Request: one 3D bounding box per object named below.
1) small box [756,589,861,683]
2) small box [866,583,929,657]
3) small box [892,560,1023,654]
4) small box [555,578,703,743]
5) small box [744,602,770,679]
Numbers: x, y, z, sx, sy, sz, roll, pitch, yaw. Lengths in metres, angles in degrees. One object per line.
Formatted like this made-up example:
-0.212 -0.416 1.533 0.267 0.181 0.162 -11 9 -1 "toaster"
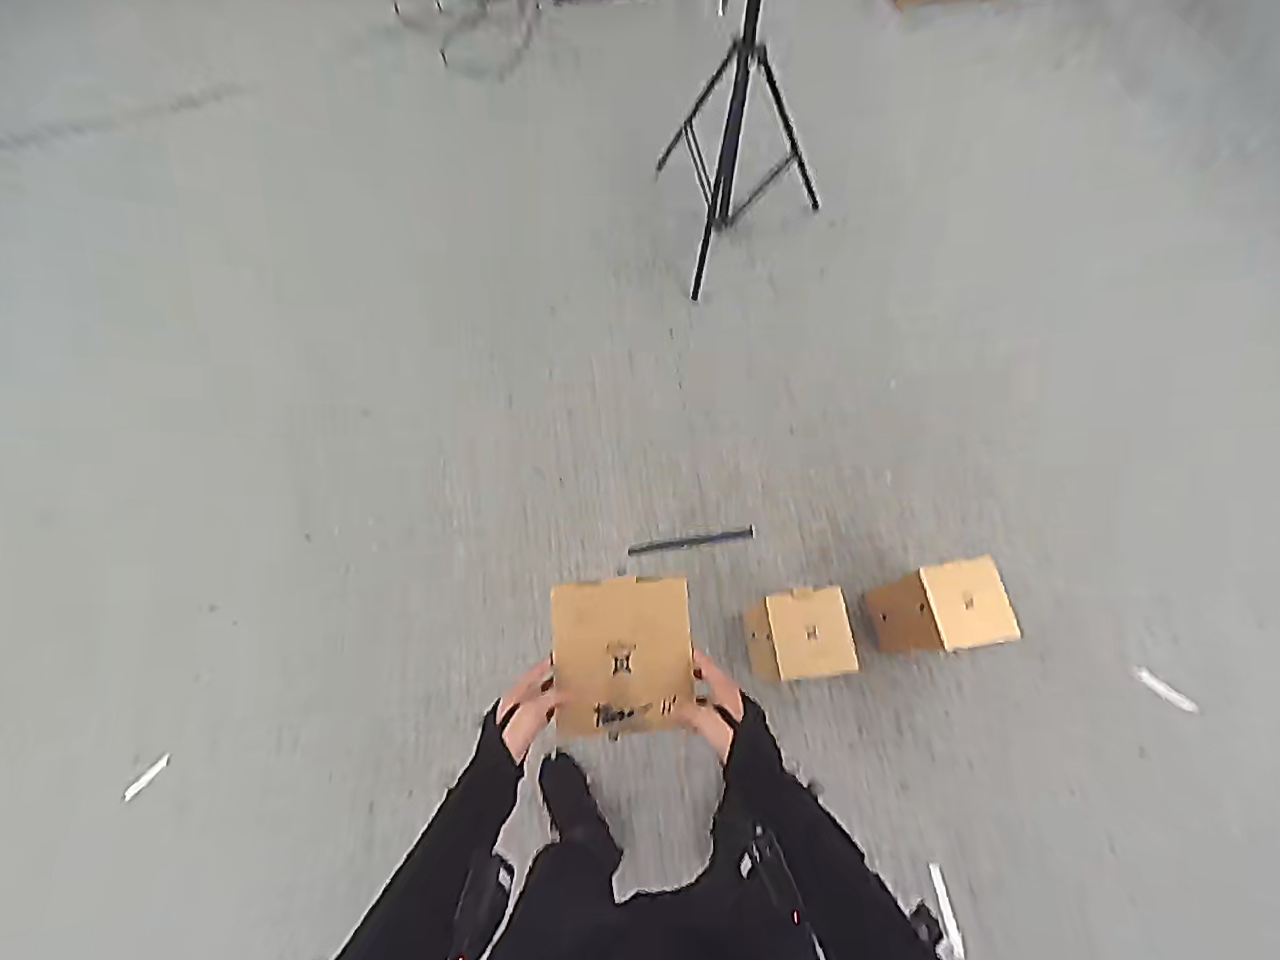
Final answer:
0.363 0.350 1.201 0.168 0.176 0.179 -7 70 0 "small box"
0.701 0.348 1.369 0.168 0.176 0.179 -10 69 -2 "small box"
0.701 0.291 1.216 0.168 0.176 0.179 -9 69 -2 "small box"
-0.015 0.220 0.697 0.168 0.176 0.179 -4 80 0 "small box"
0.365 0.400 1.357 0.168 0.176 0.179 -7 71 -1 "small box"
